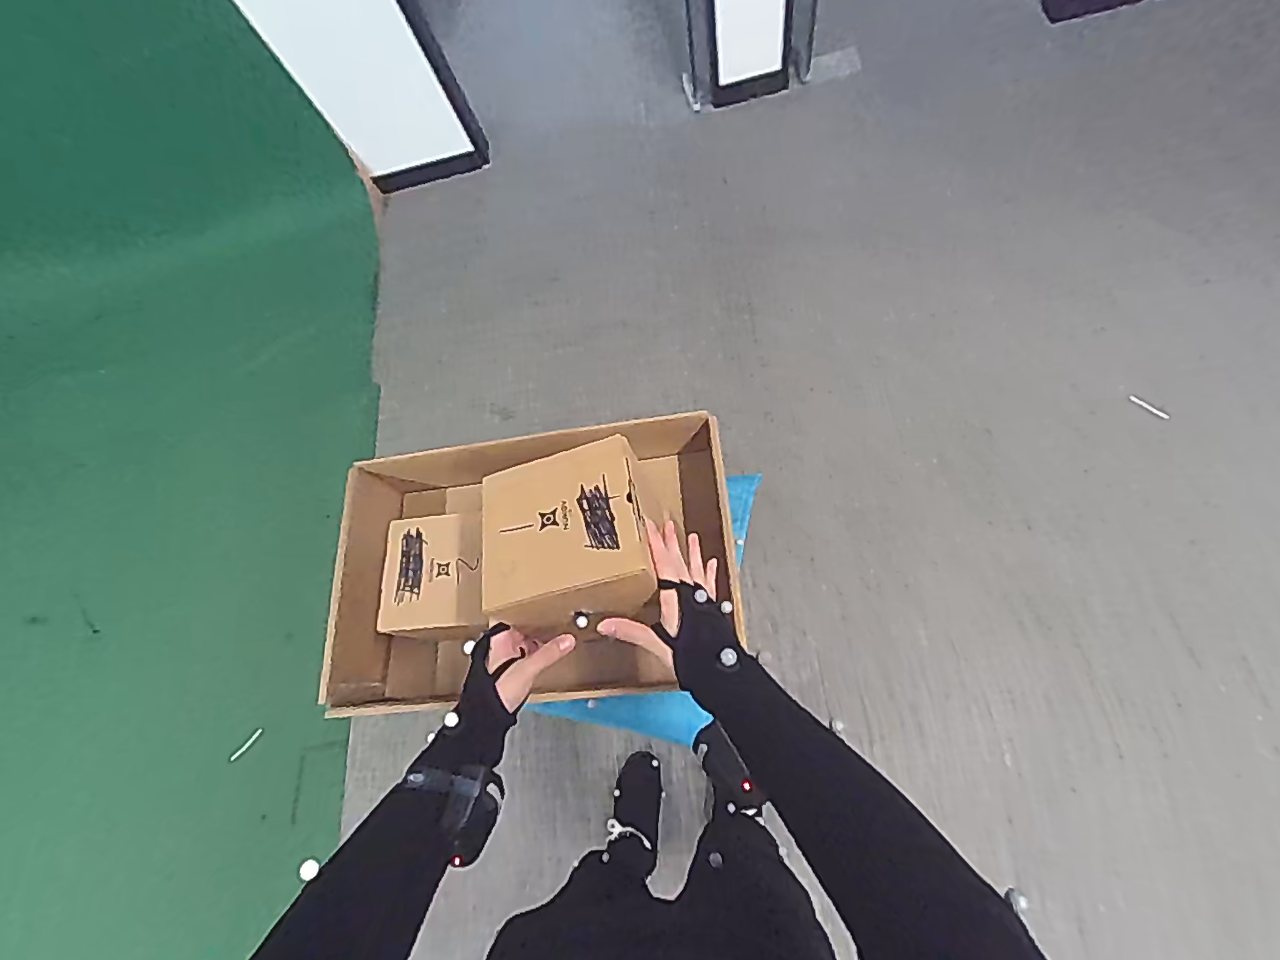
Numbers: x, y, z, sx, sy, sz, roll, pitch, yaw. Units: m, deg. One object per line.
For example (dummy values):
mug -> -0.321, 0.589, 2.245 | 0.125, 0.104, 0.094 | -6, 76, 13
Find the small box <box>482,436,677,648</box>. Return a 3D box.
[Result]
small box -> -0.062, 0.081, 0.628 | 0.179, 0.176, 0.168 | -17, 56, 10
